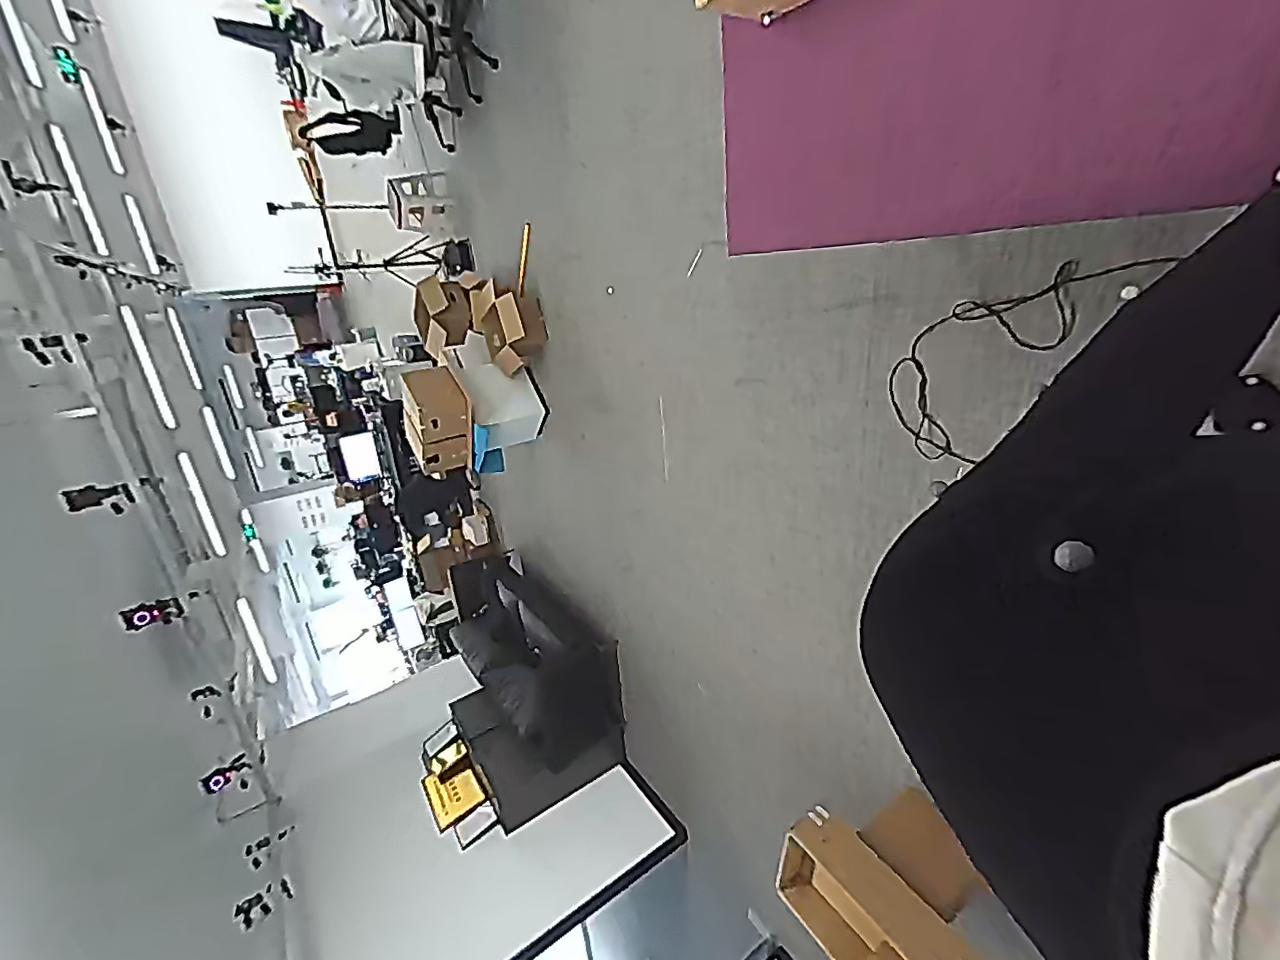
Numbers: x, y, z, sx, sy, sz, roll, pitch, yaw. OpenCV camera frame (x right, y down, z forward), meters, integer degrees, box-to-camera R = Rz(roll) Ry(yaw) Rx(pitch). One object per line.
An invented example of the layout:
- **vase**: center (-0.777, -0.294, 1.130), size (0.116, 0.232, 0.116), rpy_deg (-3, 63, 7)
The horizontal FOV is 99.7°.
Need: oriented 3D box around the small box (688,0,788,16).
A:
- **small box**: center (0.185, -0.864, 0.845), size (0.168, 0.176, 0.179), rpy_deg (24, 127, 50)
